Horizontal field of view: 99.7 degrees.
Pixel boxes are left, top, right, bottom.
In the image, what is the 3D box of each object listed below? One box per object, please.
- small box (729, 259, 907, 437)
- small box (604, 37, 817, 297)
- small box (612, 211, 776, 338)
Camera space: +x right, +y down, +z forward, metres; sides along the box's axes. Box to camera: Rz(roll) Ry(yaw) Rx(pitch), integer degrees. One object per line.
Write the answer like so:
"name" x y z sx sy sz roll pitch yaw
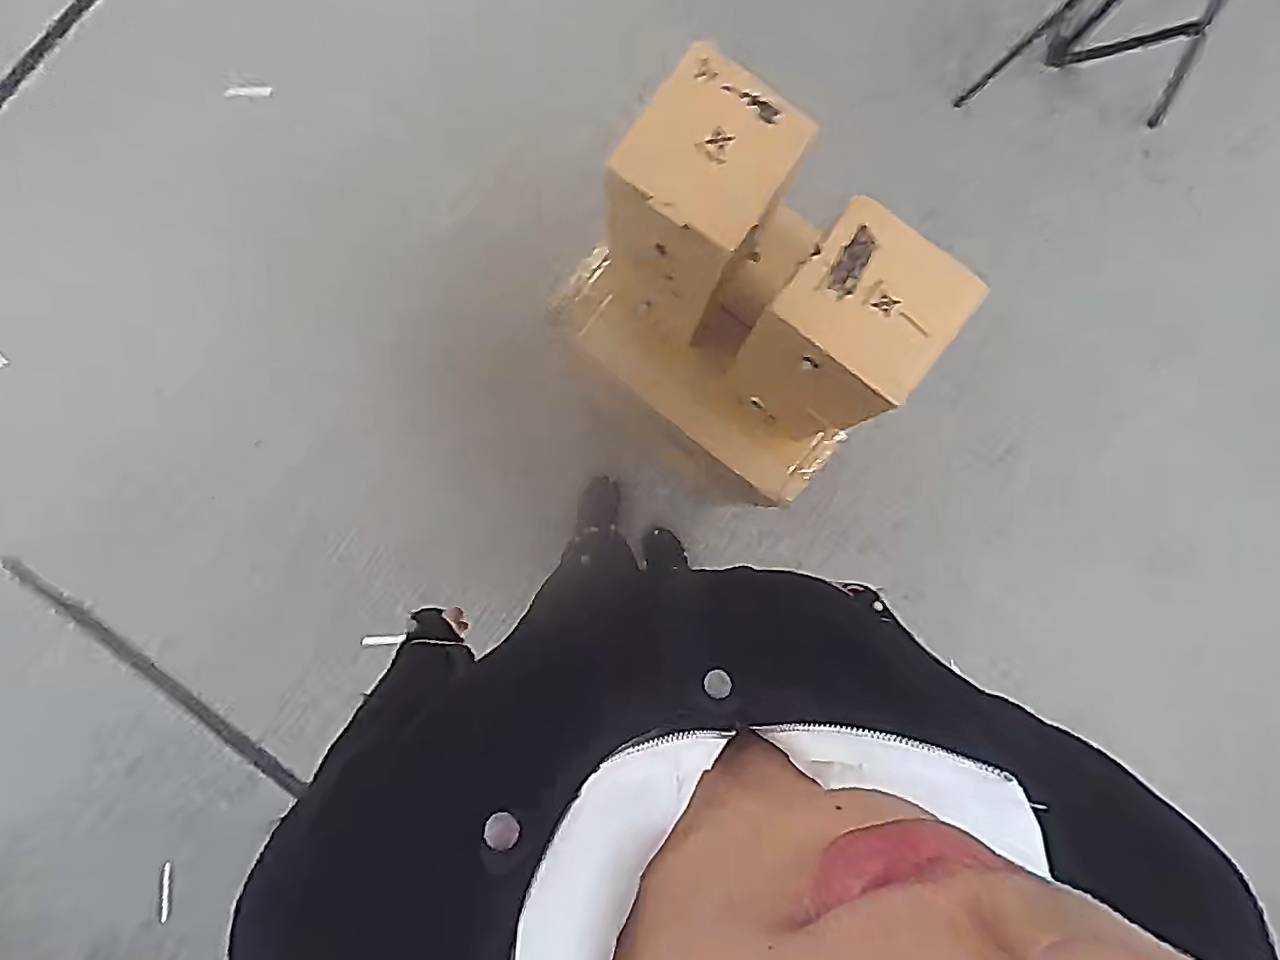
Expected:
"small box" 0.252 -0.186 0.818 0.168 0.176 0.179 38 89 3
"small box" 0.076 -0.356 0.655 0.168 0.176 0.179 36 88 0
"small box" 0.070 -0.348 0.819 0.168 0.176 0.179 37 88 -1
